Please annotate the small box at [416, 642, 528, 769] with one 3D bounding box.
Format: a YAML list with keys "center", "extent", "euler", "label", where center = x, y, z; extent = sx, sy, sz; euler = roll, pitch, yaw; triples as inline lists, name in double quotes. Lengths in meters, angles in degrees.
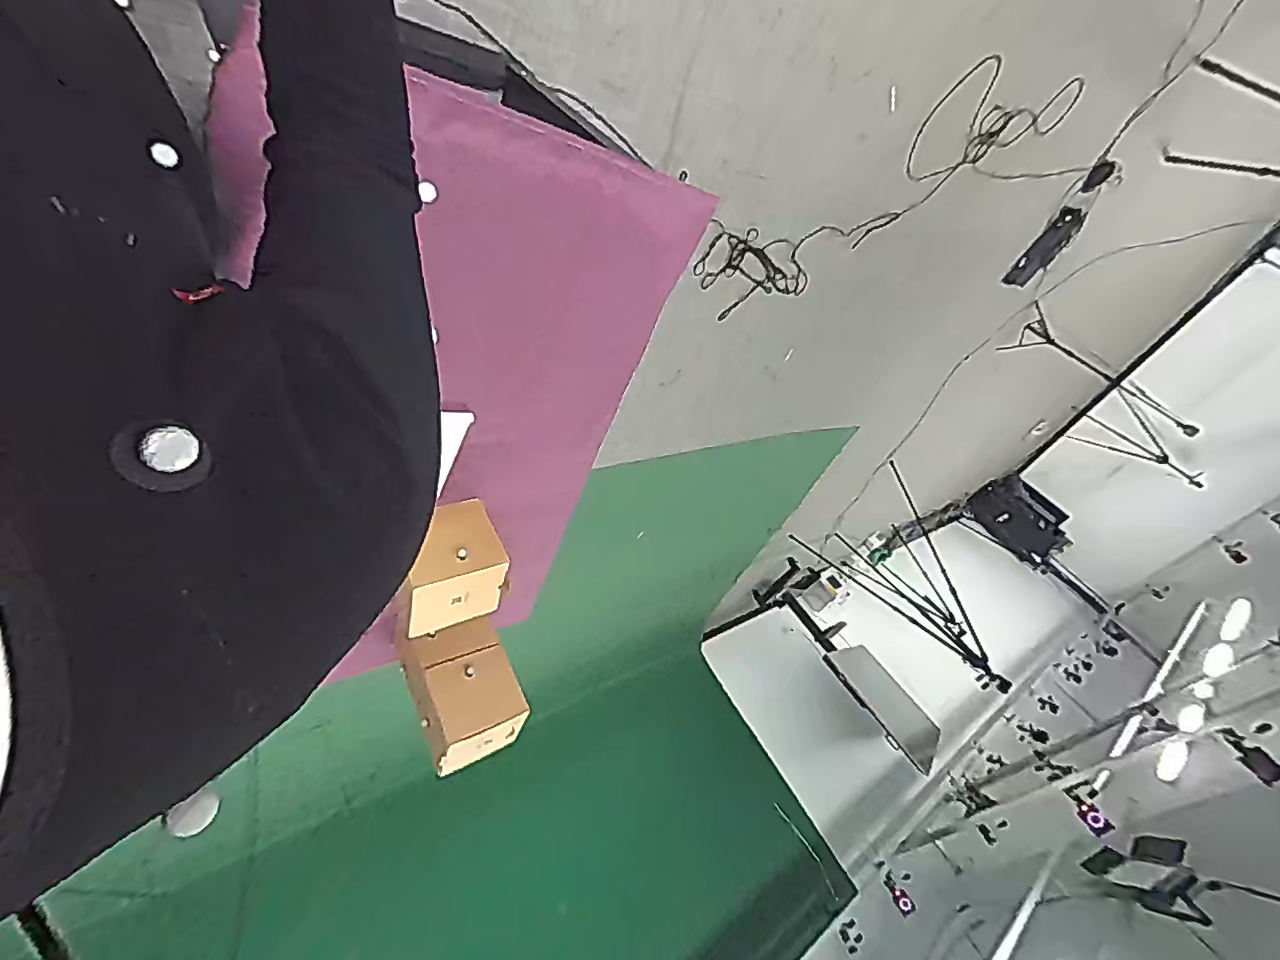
- center: [-0.372, 0.483, 1.176]
  extent: [0.179, 0.176, 0.168]
  euler: [-10, 142, -37]
  label: "small box"

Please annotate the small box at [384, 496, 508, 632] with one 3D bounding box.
- center: [-0.379, 0.155, 1.038]
  extent: [0.179, 0.176, 0.168]
  euler: [-13, 143, -36]
  label: "small box"

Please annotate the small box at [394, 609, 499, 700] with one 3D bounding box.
- center: [-0.458, 0.372, 1.261]
  extent: [0.179, 0.176, 0.168]
  euler: [-10, 142, -38]
  label: "small box"
